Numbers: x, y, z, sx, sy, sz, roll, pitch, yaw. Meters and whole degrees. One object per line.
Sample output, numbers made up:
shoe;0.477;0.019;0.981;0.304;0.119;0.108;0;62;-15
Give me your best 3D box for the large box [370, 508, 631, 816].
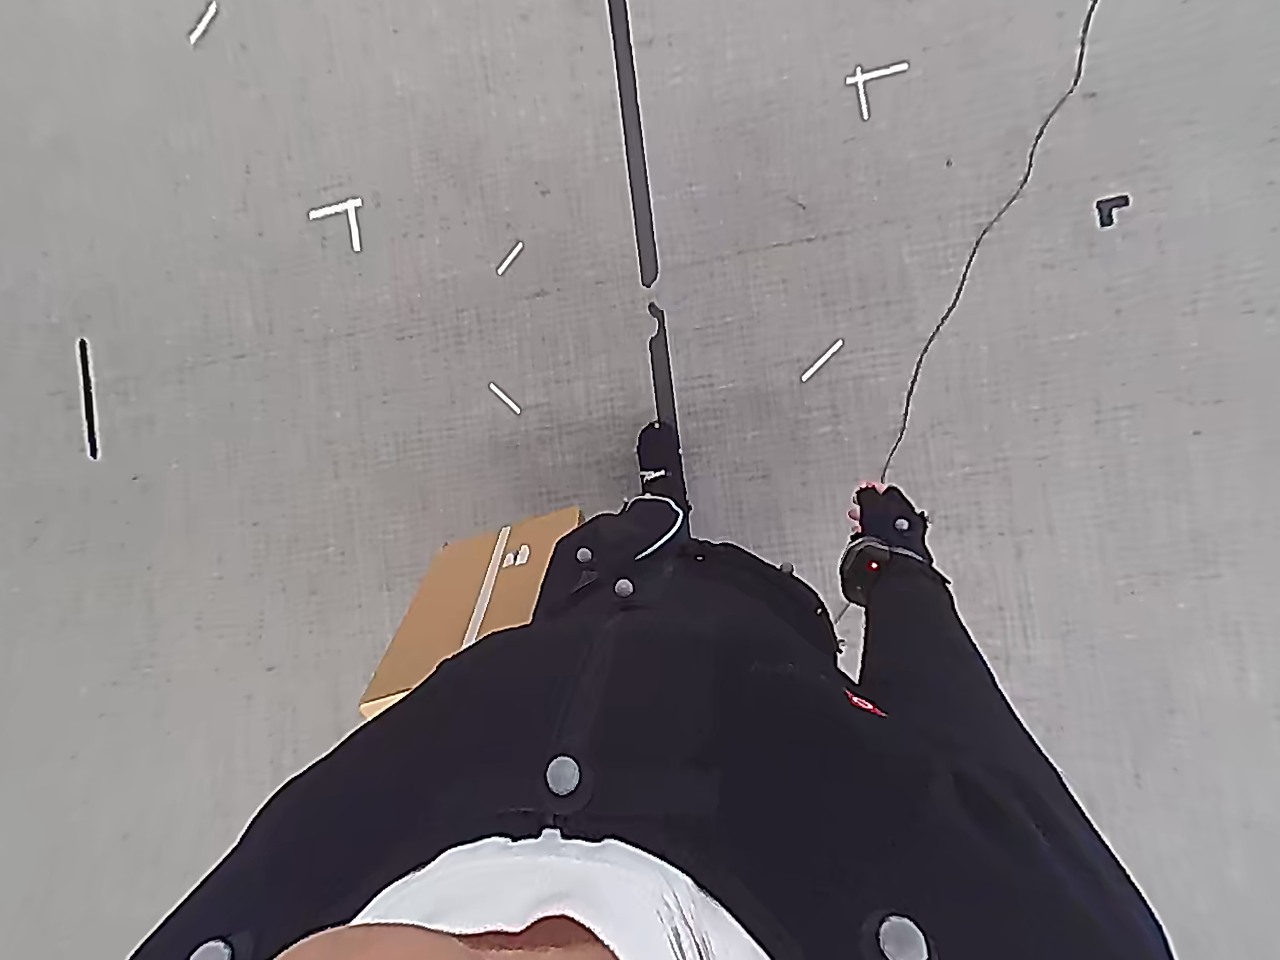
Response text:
large box;-0.211;0.312;1.005;0.320;0.408;0.320;-17;114;6
